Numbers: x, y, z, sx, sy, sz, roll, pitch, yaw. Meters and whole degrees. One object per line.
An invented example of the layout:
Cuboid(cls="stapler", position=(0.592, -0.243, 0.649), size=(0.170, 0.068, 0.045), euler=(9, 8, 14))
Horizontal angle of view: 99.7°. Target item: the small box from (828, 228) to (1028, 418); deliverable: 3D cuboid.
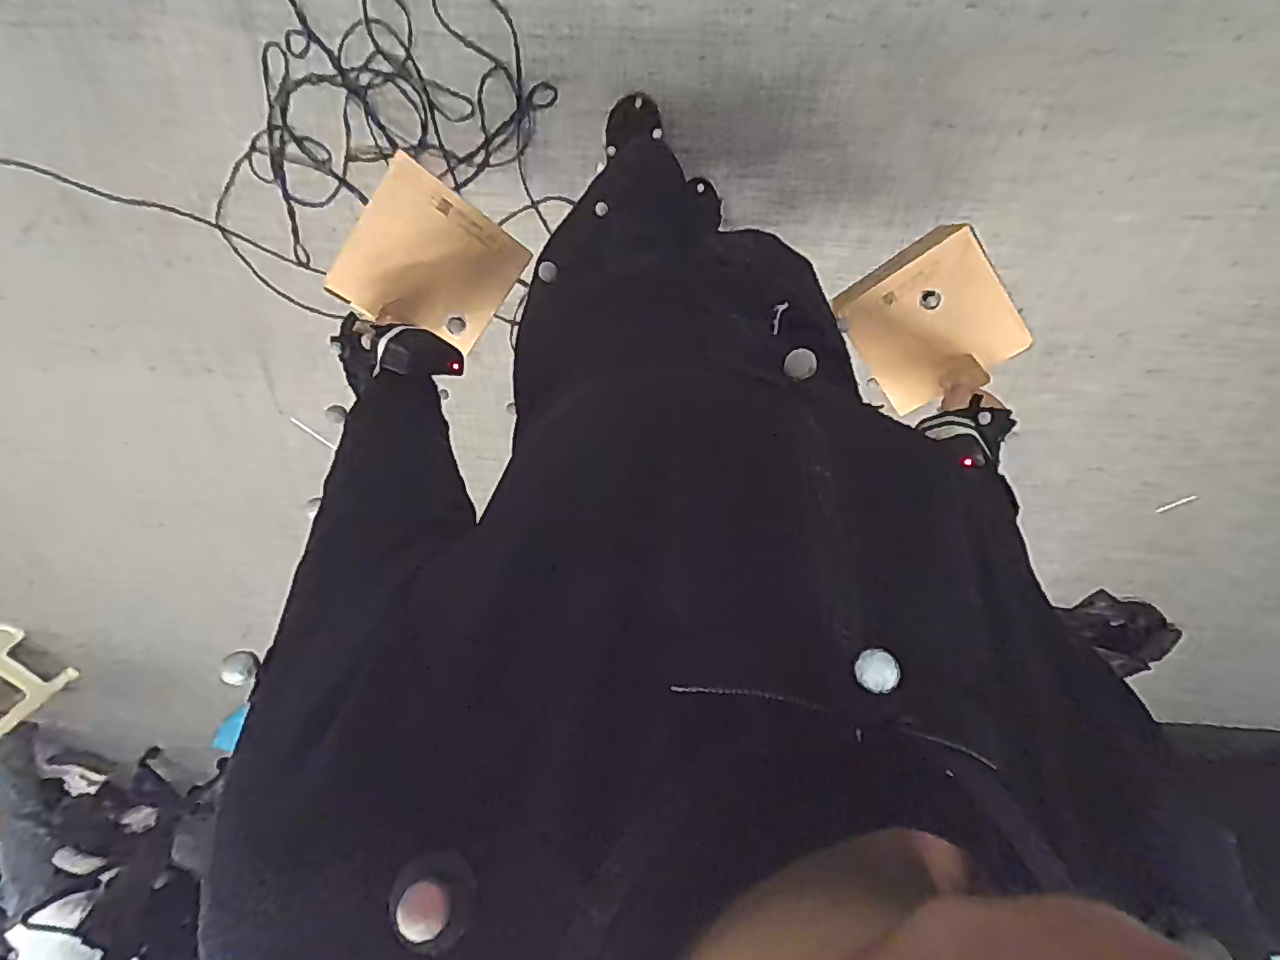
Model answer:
Cuboid(cls="small box", position=(0.370, -0.215, 0.729), size=(0.168, 0.179, 0.176), euler=(-32, 100, 27))
